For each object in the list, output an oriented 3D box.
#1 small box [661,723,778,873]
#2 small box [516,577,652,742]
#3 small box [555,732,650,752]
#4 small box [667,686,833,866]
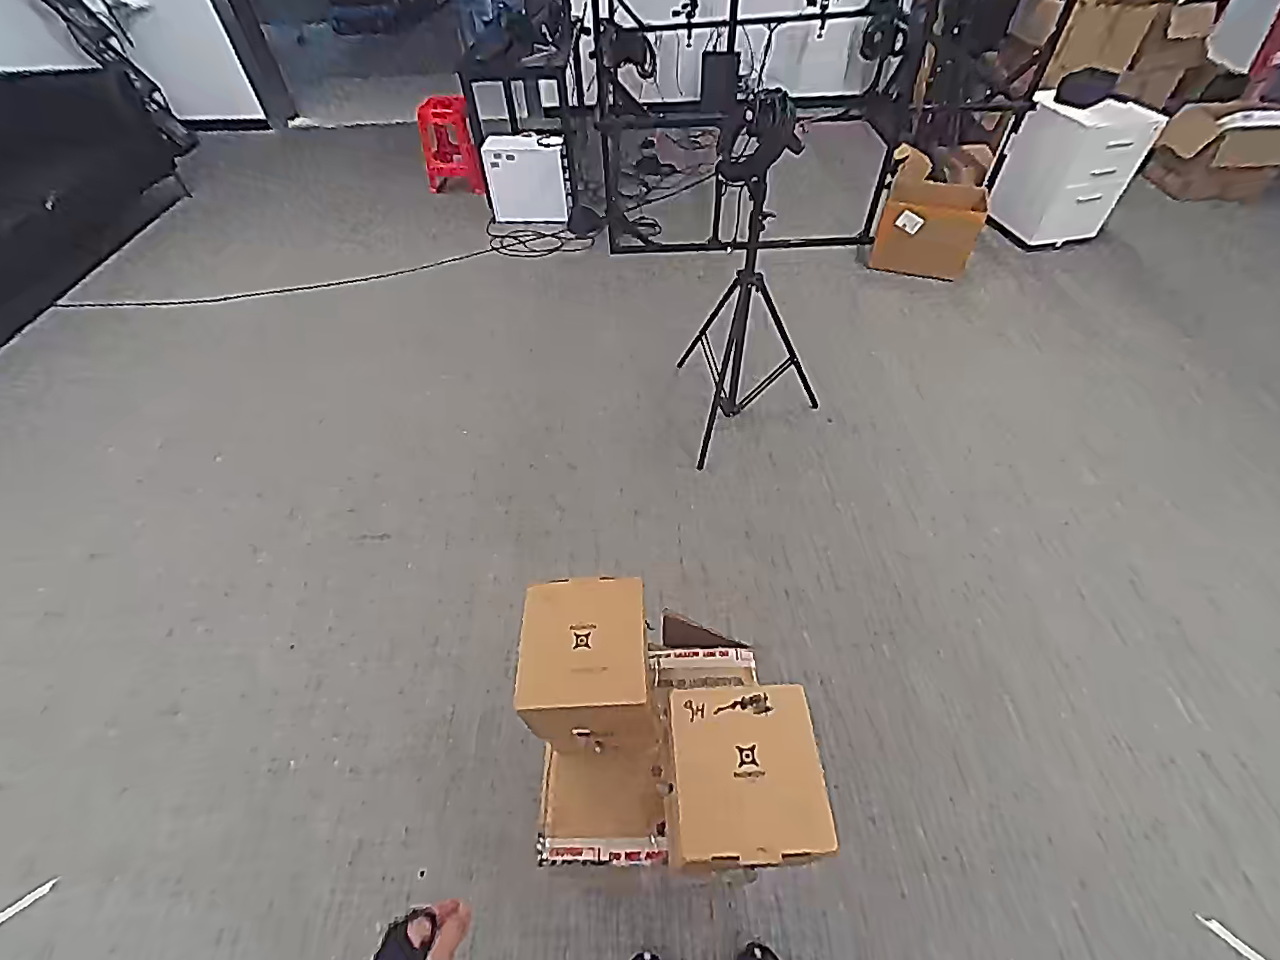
[{"bbox_3d":[0.119,0.470,0.804,0.168,0.176,0.179,-4,52,-1],"label":"small box"},{"bbox_3d":[-0.070,0.258,0.773,0.168,0.176,0.179,-4,53,1],"label":"small box"},{"bbox_3d":[-0.069,0.343,0.913,0.168,0.176,0.179,-3,52,1],"label":"small box"},{"bbox_3d":[0.121,0.372,0.673,0.168,0.176,0.179,-2,52,0],"label":"small box"}]
